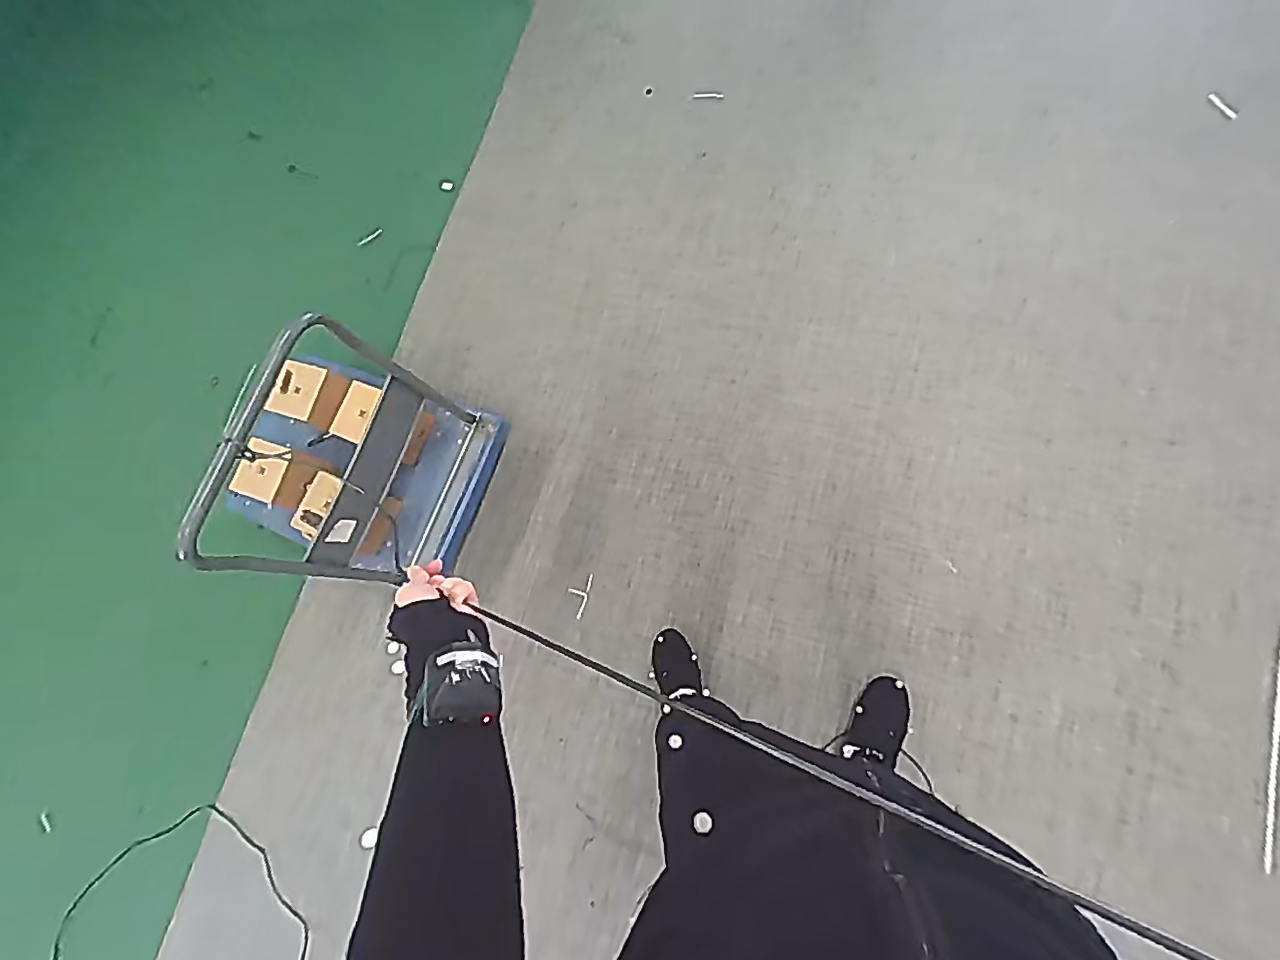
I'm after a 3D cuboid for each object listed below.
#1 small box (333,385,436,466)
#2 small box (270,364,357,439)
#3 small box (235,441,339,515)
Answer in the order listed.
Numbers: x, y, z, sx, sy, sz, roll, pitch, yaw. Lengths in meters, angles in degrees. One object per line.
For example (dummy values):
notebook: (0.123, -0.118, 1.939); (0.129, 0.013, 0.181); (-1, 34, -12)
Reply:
small box: (-0.742, -0.154, 1.586); (0.179, 0.176, 0.168); (20, 82, 19)
small box: (-0.983, -0.237, 1.674); (0.179, 0.176, 0.168); (15, 81, 18)
small box: (-1.059, 0.000, 1.635); (0.179, 0.176, 0.168); (15, 80, 19)
